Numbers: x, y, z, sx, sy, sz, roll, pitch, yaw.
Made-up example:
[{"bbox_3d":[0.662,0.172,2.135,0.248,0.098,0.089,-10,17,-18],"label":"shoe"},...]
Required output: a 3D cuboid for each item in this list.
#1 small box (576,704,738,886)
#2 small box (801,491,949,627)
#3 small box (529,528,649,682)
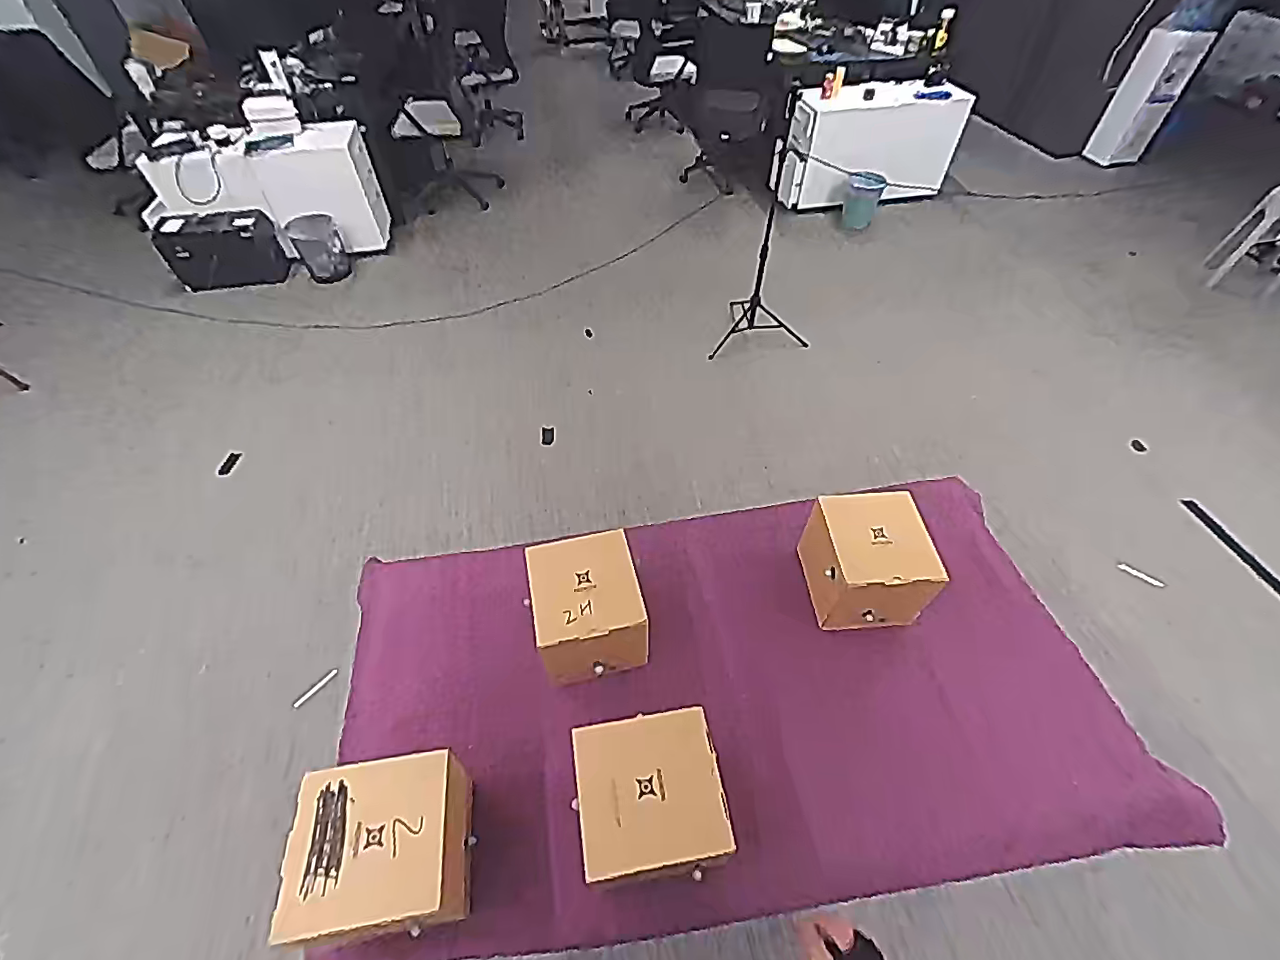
[{"bbox_3d":[0.013,0.418,0.716,0.179,0.176,0.168,-7,49,-7],"label":"small box"},{"bbox_3d":[0.396,0.140,0.951,0.168,0.176,0.179,-4,51,-2],"label":"small box"},{"bbox_3d":[-0.084,0.208,0.898,0.168,0.176,0.179,-11,51,-8],"label":"small box"}]
